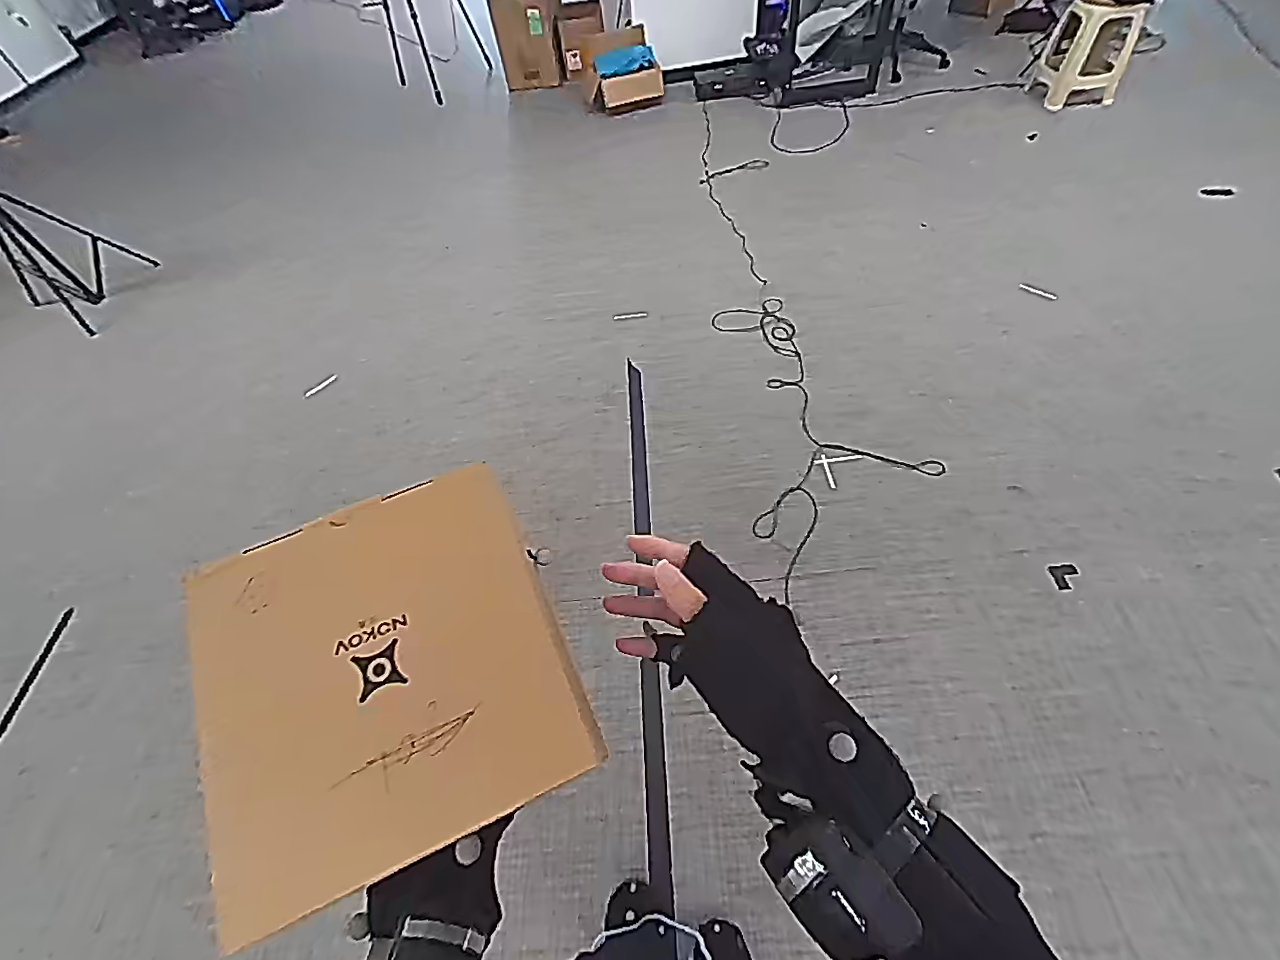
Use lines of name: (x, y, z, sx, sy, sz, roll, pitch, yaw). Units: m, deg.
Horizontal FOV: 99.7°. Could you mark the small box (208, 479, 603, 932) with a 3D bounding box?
small box: (-0.131, 0.132, 0.352, 0.168, 0.176, 0.179, -22, 67, -11)
